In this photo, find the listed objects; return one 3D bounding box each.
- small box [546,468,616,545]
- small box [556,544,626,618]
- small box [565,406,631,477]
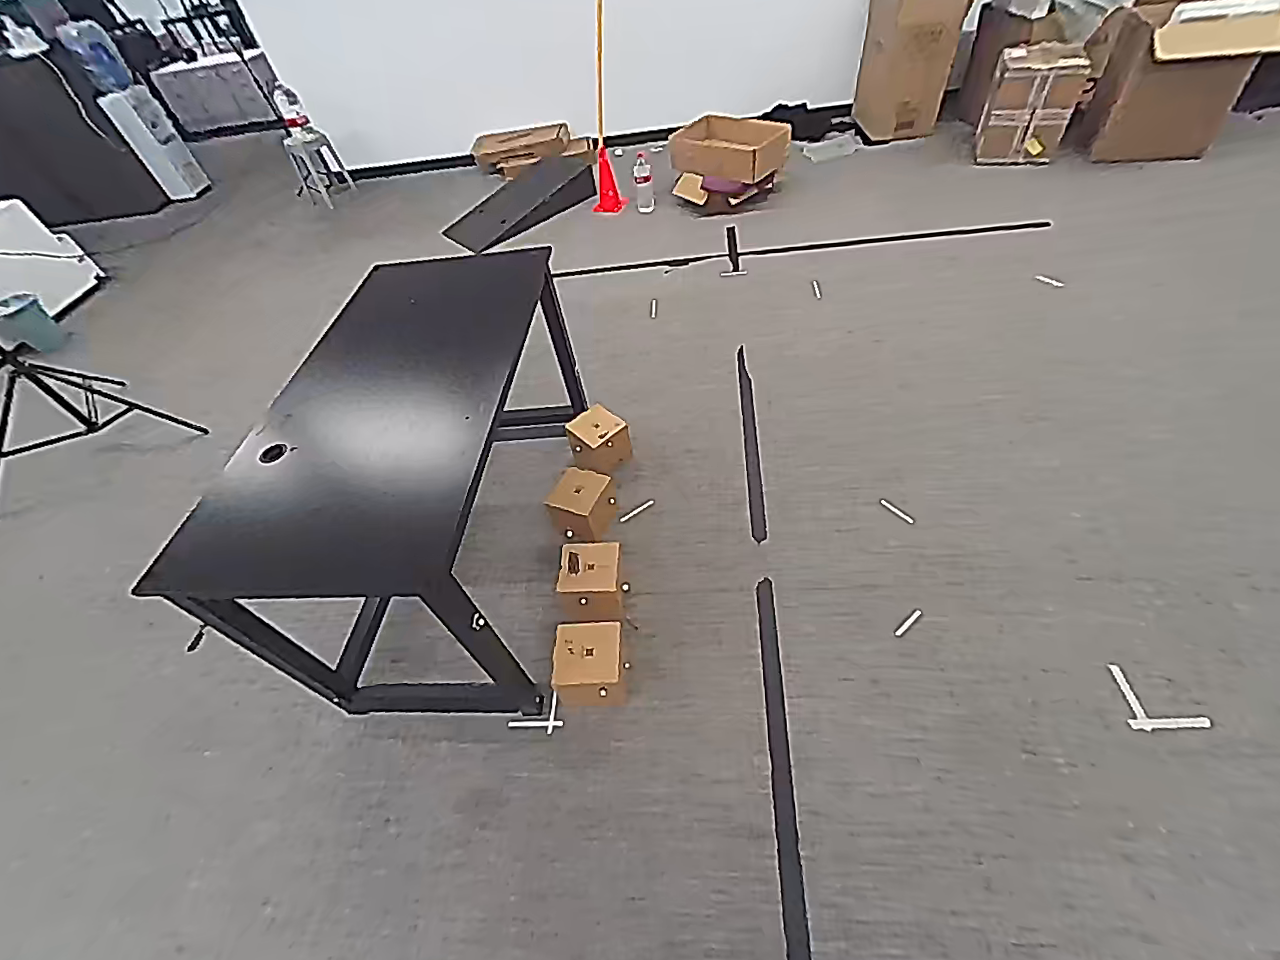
[{"bbox_3d":[-0.192,0.092,1.848,0.168,0.176,0.179,14,54,21],"label":"small box"},{"bbox_3d":[-0.143,0.312,1.648,0.179,0.176,0.168,-2,49,6],"label":"small box"},{"bbox_3d":[-0.154,-0.141,2.038,0.168,0.176,0.179,-39,54,-22],"label":"small box"}]
